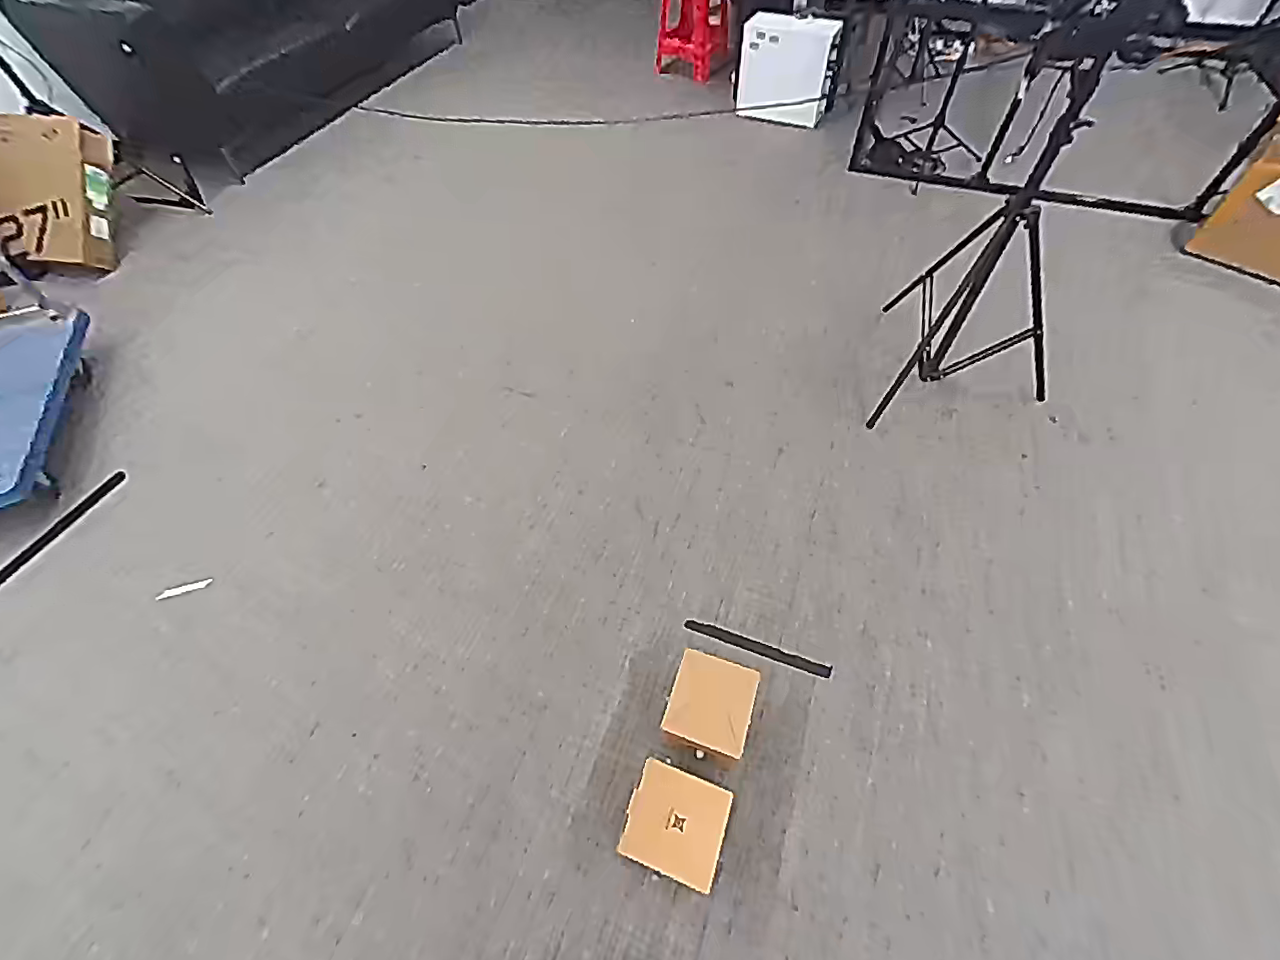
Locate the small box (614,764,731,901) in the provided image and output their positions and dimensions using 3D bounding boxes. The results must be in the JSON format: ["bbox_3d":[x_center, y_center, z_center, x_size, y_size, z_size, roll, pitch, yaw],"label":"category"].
[{"bbox_3d":[0.065,0.681,1.054,0.179,0.176,0.168,16,57,14],"label":"small box"}]

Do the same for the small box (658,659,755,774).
[{"bbox_3d":[0.144,0.507,1.170,0.168,0.176,0.179,16,56,13],"label":"small box"}]
